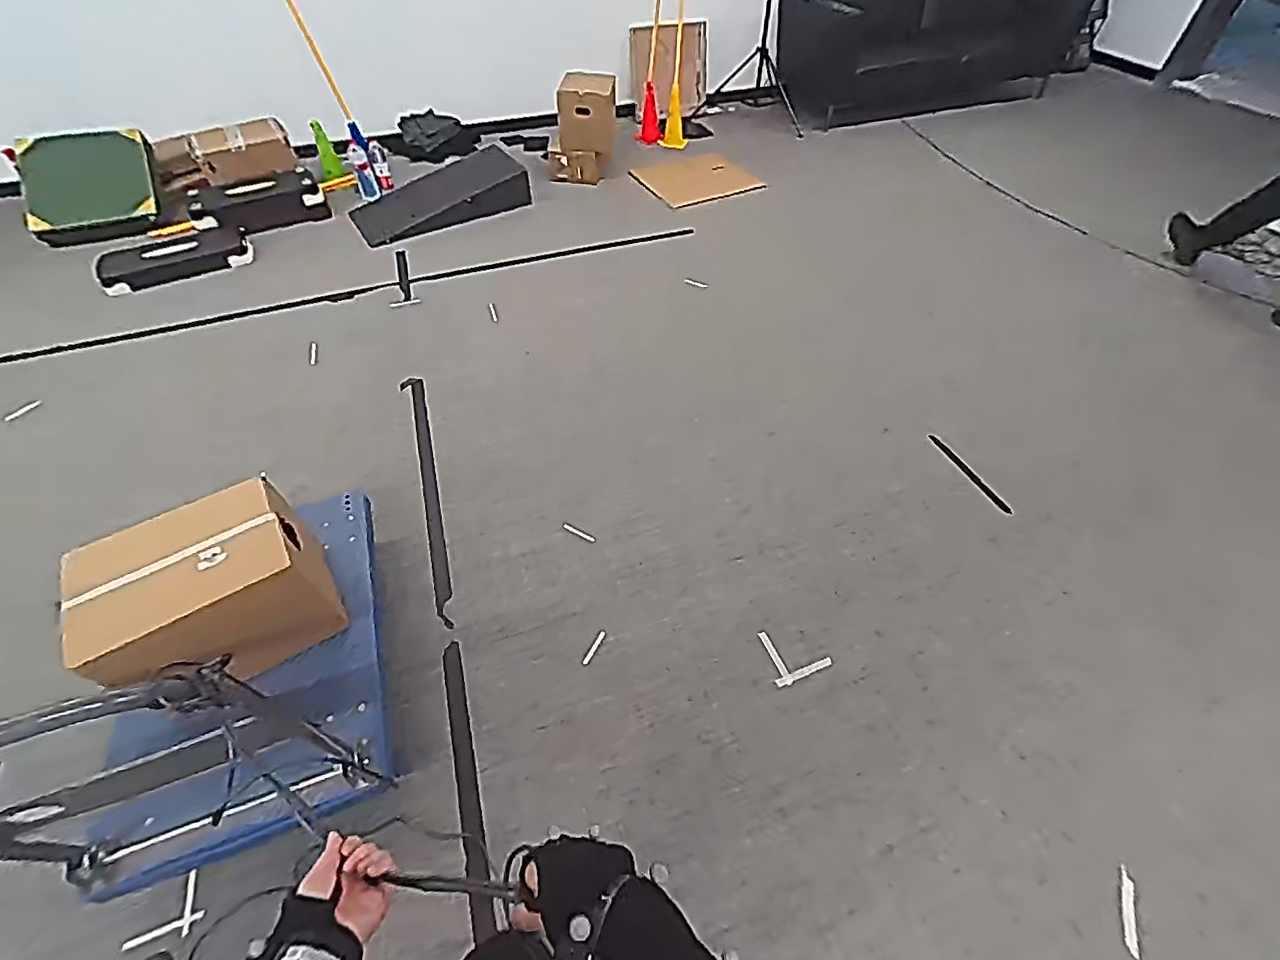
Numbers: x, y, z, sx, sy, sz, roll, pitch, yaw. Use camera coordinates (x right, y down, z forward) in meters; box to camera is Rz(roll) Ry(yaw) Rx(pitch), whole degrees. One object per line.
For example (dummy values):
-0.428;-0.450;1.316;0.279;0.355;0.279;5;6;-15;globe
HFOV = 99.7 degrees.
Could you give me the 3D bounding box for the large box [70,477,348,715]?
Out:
-0.990;0.268;1.279;0.408;0.320;0.320;-28;56;-22;large box
